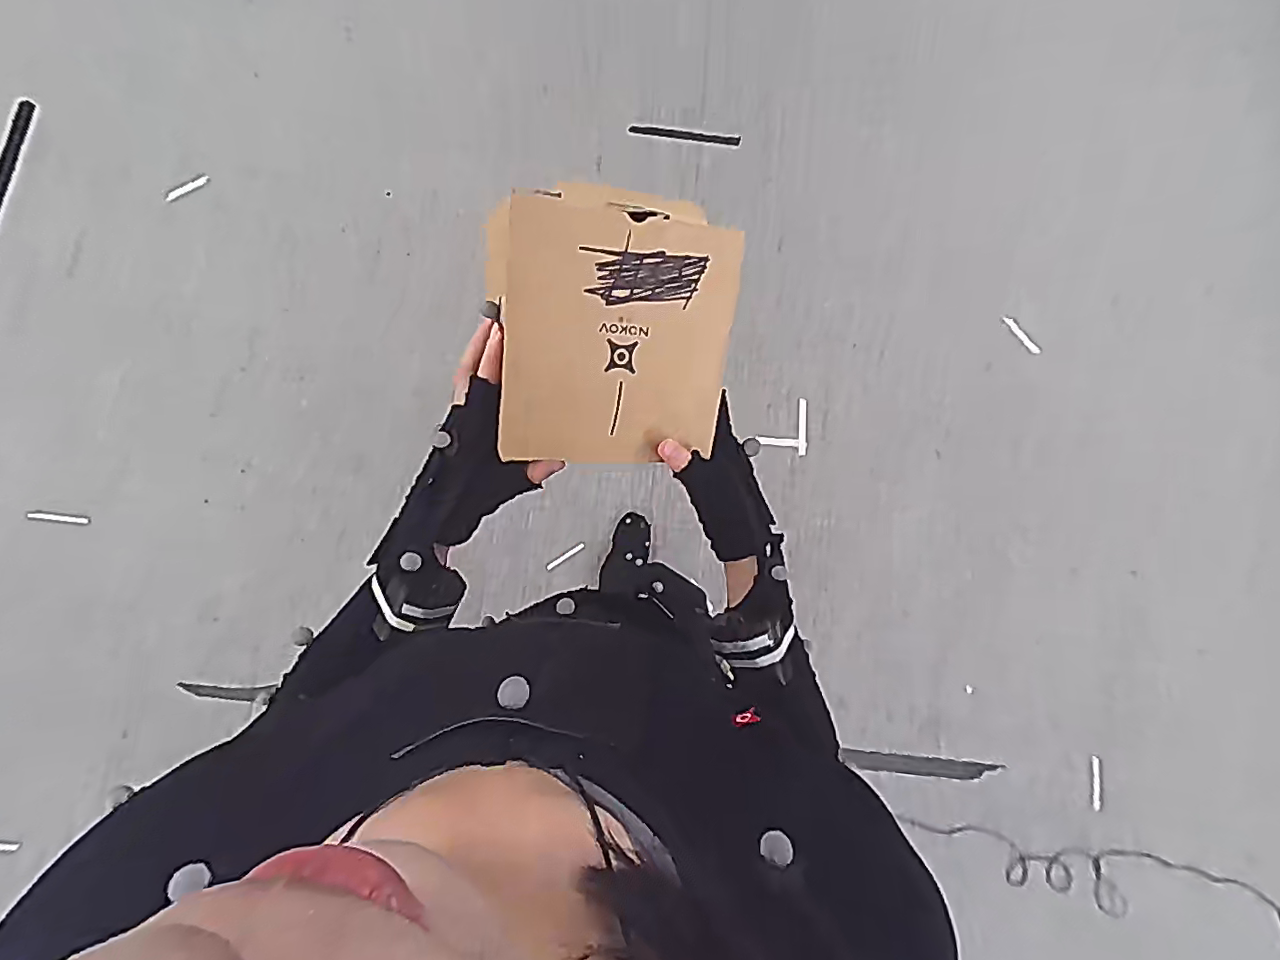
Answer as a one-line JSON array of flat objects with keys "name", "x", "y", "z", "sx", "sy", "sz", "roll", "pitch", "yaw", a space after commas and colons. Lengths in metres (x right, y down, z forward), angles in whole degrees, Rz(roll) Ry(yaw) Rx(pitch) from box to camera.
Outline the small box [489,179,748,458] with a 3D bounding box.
[{"name": "small box", "x": -0.034, "y": -0.126, "z": 0.453, "sx": 0.168, "sy": 0.176, "sz": 0.179, "roll": 1, "pitch": 109, "yaw": -20}]
